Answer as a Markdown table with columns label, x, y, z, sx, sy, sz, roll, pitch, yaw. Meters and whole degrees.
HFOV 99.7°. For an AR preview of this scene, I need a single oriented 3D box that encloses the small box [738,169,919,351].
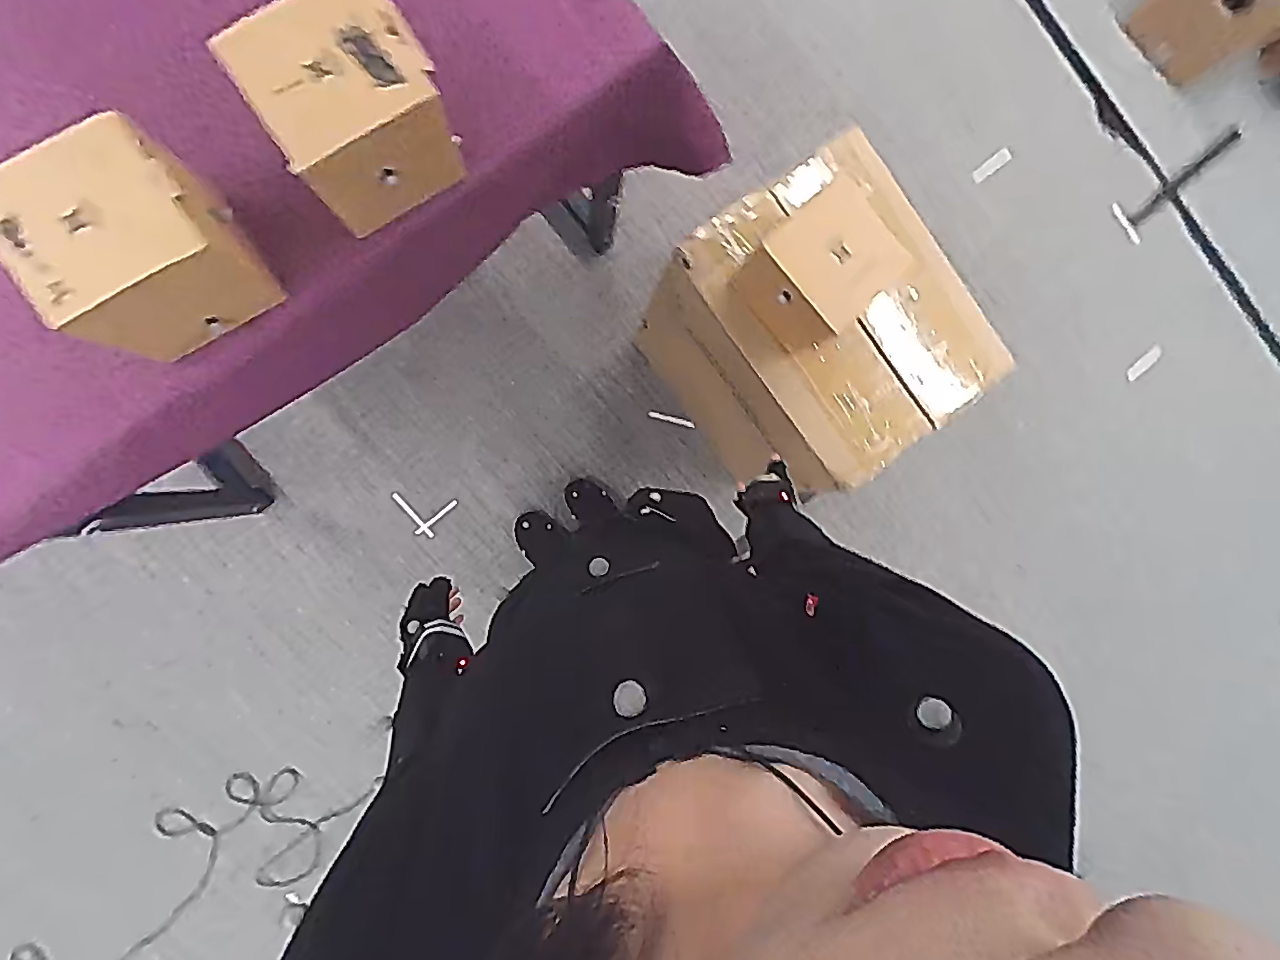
| label | x | y | z | sx | sy | sz | roll | pitch | yaw |
| --- | --- | --- | --- | --- | --- | --- | --- | --- | --- |
| small box | 0.281 | -0.328 | 0.849 | 0.168 | 0.176 | 0.179 | -43 | 96 | -3 |

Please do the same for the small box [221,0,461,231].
| label | x | y | z | sx | sy | sz | roll | pitch | yaw |
| --- | --- | --- | --- | --- | --- | --- | --- | --- | --- |
| small box | -0.341 | -0.449 | 0.665 | 0.179 | 0.176 | 0.168 | -34 | 93 | -5 |

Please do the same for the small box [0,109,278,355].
| label | x | y | z | sx | sy | sz | roll | pitch | yaw |
| --- | --- | --- | --- | --- | --- | --- | --- | --- | --- |
| small box | -0.573 | -0.274 | 0.636 | 0.179 | 0.176 | 0.168 | -33 | 93 | -7 |
